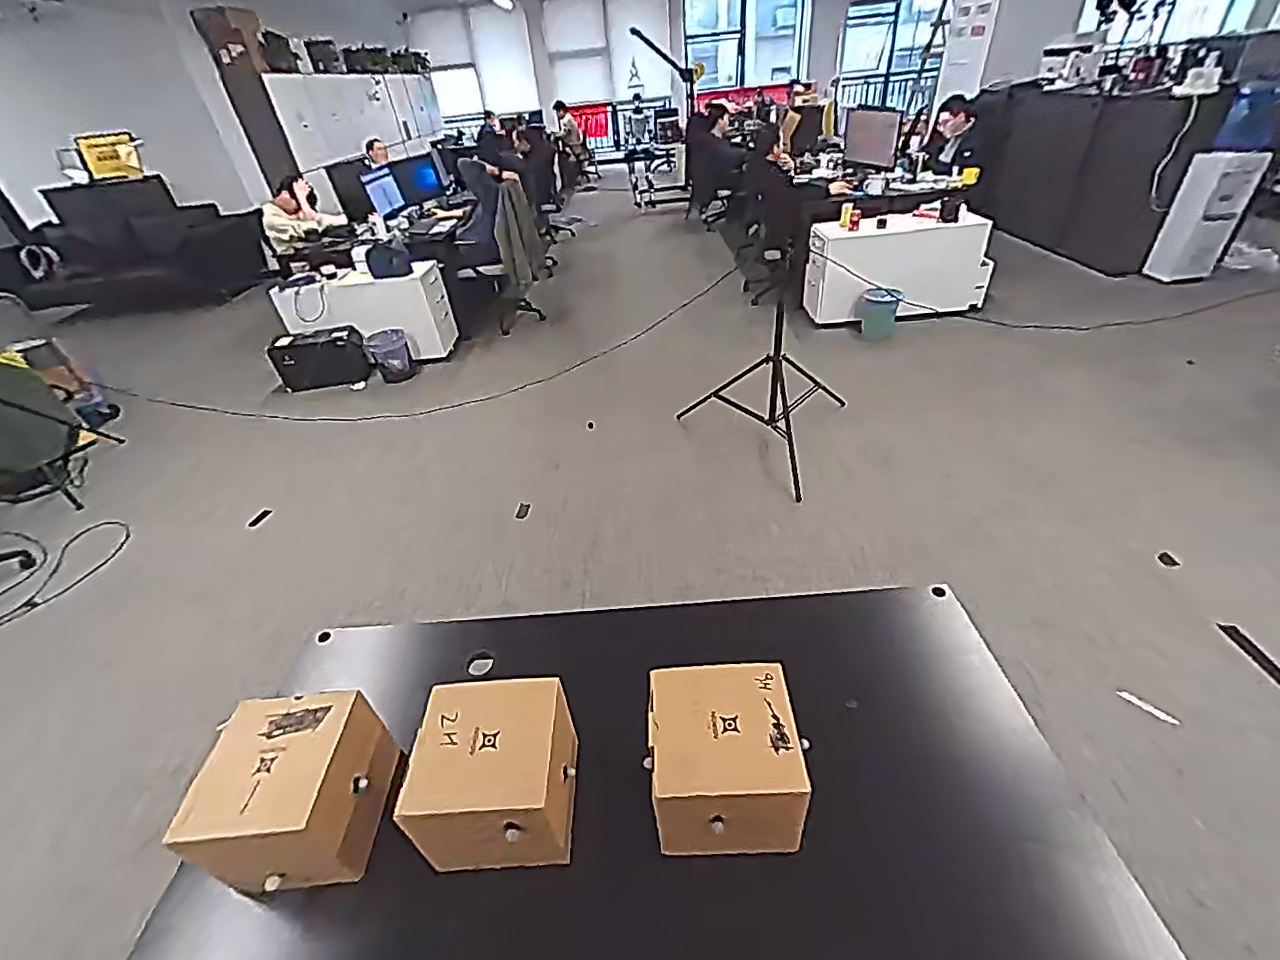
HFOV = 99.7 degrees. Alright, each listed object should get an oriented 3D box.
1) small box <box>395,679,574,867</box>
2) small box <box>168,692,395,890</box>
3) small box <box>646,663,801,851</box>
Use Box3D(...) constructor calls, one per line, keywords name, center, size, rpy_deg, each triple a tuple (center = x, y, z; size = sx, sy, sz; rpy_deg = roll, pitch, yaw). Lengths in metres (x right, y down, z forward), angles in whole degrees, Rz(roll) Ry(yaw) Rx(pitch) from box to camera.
Box3D(name="small box", center=(-0.187, 0.389, 0.720), size=(0.179, 0.176, 0.168), rpy_deg=(-5, 37, 2))
Box3D(name="small box", center=(-0.454, 0.414, 0.726), size=(0.168, 0.176, 0.179), rpy_deg=(-6, 38, 0))
Box3D(name="small box", center=(0.104, 0.365, 0.711), size=(0.179, 0.176, 0.168), rpy_deg=(-5, 37, 4))
